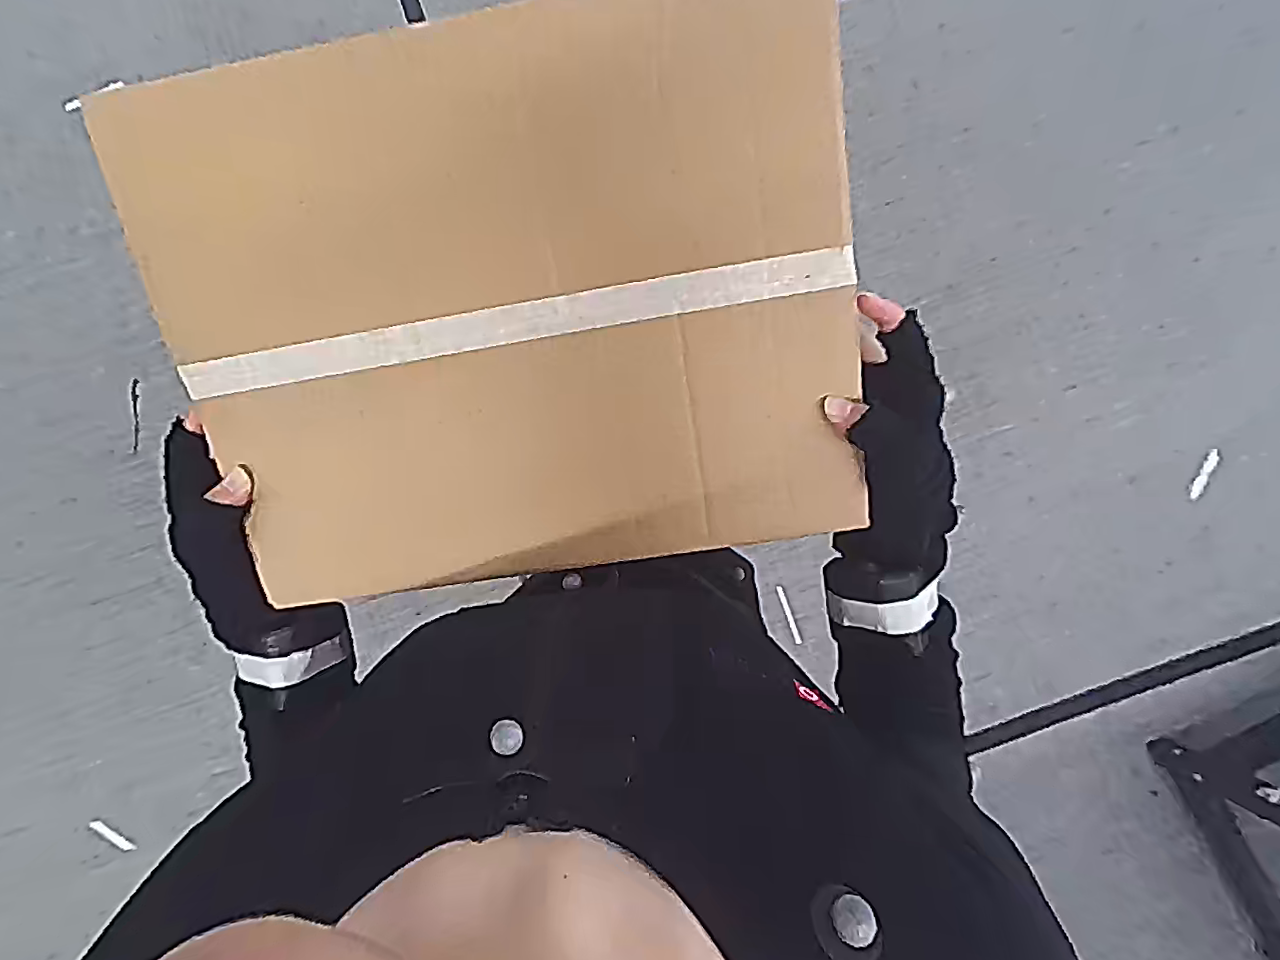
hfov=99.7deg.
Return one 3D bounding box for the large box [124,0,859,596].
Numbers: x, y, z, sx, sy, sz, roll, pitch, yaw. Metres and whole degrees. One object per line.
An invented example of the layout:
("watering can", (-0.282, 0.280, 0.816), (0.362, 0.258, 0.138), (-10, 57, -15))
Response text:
("large box", (-0.074, -0.131, 0.472), (0.408, 0.320, 0.320), (-9, 105, 4))
